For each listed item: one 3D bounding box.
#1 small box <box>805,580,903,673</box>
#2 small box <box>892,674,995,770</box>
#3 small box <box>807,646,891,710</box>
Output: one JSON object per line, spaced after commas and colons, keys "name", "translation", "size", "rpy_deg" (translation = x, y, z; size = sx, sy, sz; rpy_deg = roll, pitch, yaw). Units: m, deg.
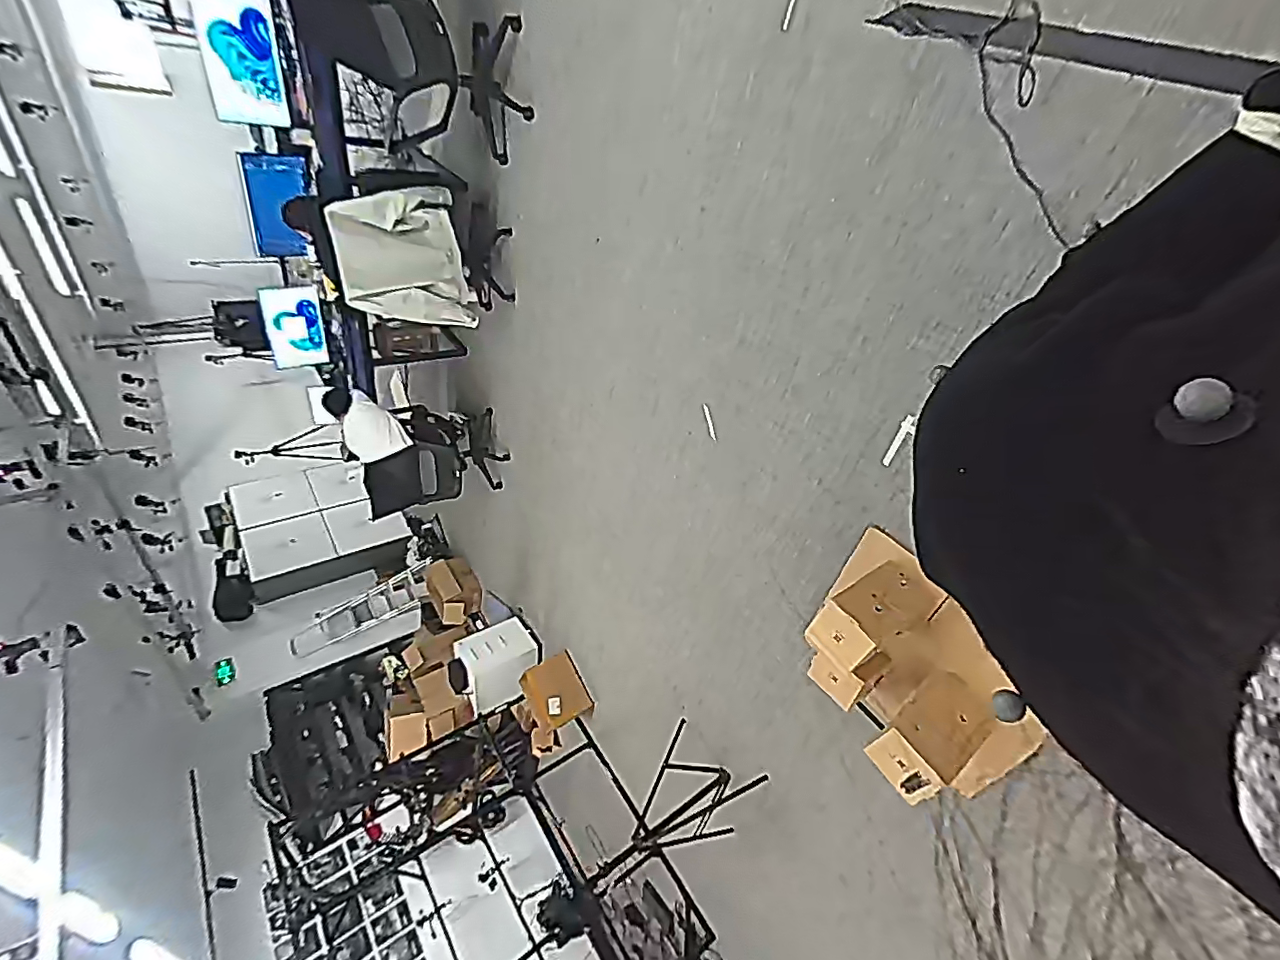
{"name": "small box", "translation": [0.625, 0.423, 1.575], "size": [0.168, 0.176, 0.179], "rpy_deg": [48, 138, 31]}
{"name": "small box", "translation": [0.901, 0.713, 1.603], "size": [0.179, 0.176, 0.168], "rpy_deg": [51, 140, 26]}
{"name": "small box", "translation": [0.710, 0.635, 1.842], "size": [0.179, 0.176, 0.168], "rpy_deg": [42, 137, 38]}
